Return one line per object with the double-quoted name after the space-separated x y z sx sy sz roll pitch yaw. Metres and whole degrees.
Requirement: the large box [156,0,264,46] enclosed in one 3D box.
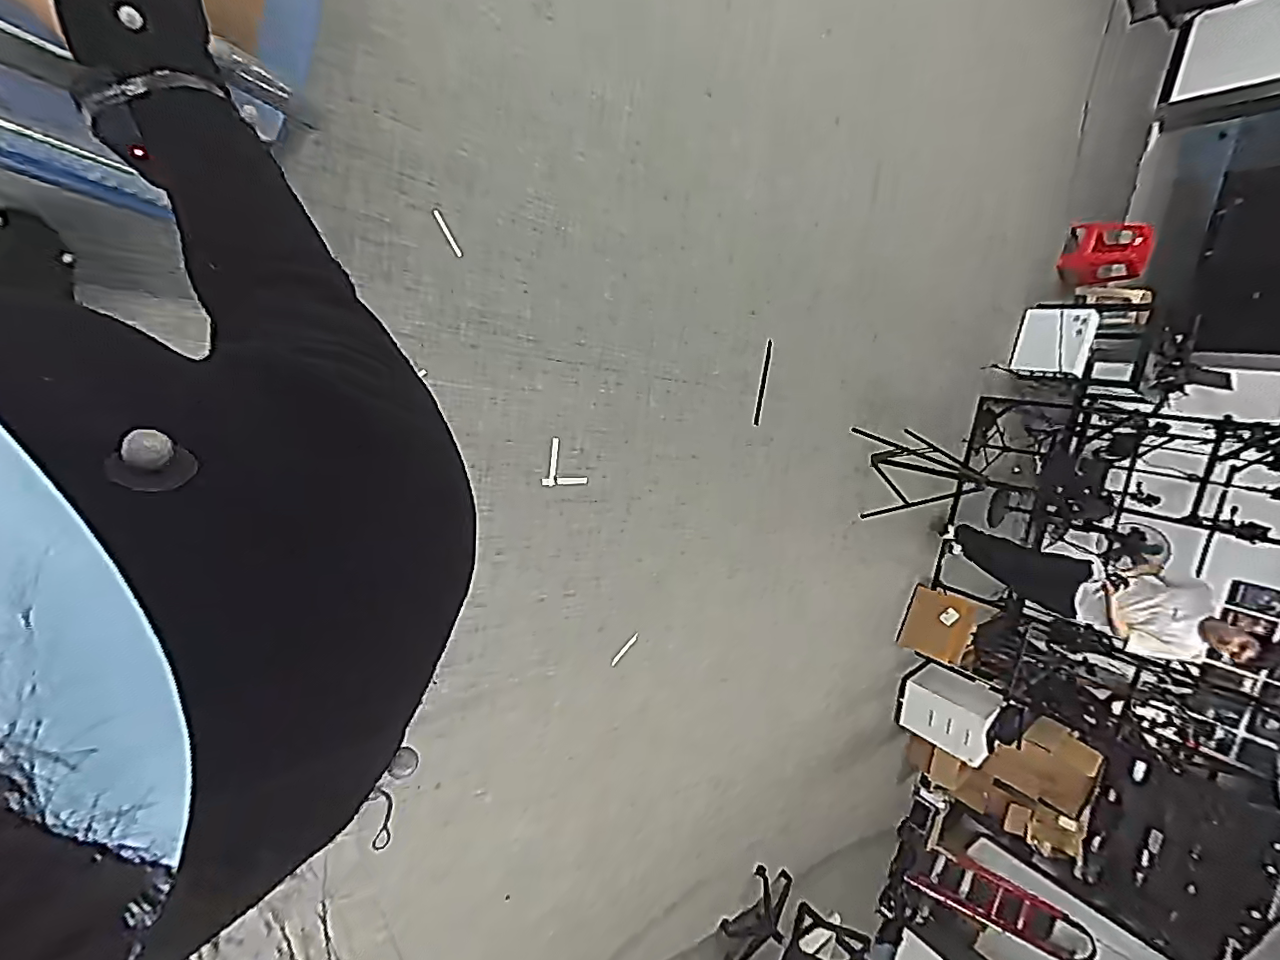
-0.715 -0.901 0.711 0.408 0.320 0.320 11 96 -41 "large box"
